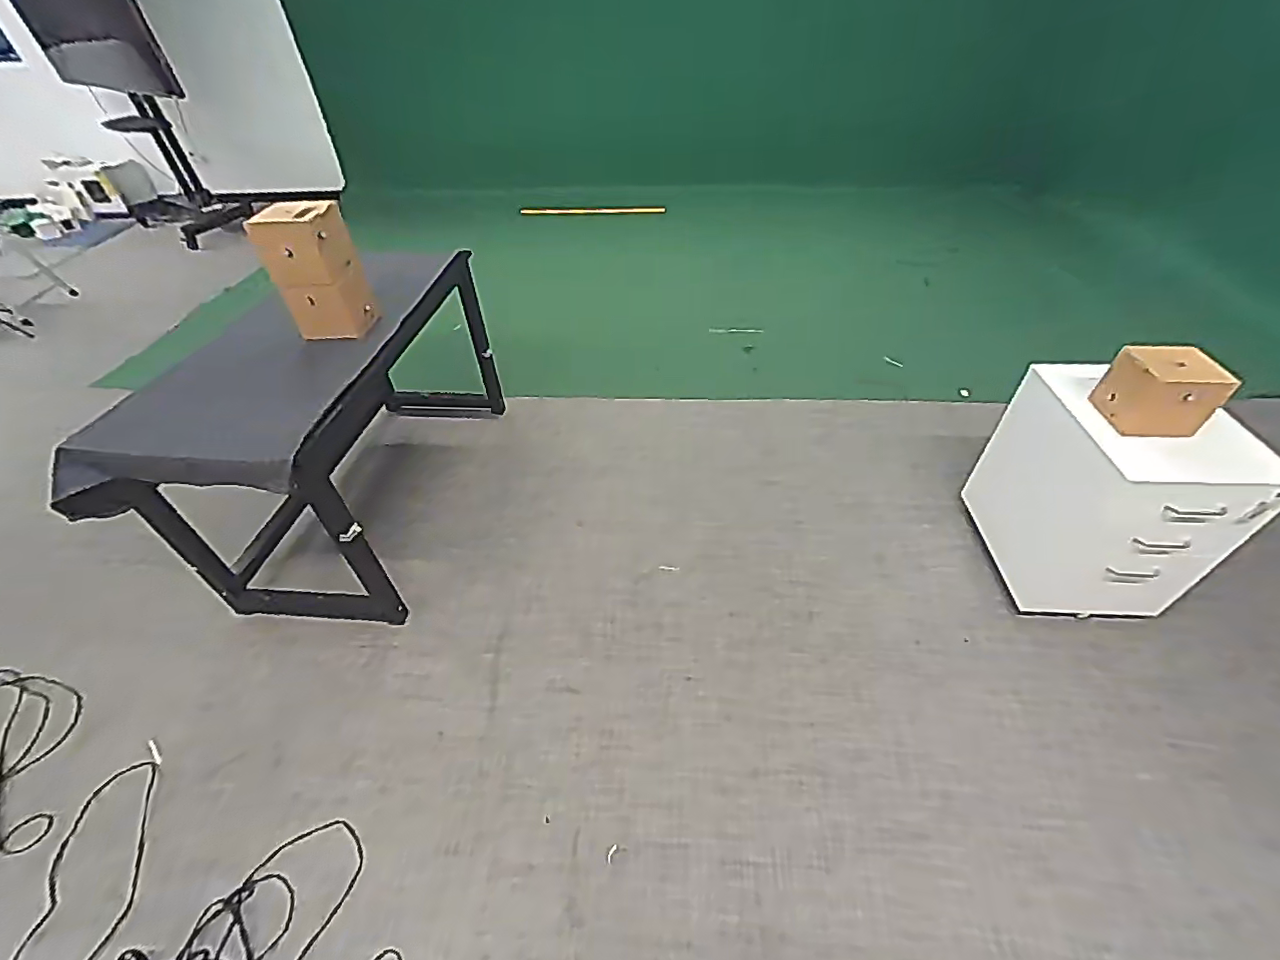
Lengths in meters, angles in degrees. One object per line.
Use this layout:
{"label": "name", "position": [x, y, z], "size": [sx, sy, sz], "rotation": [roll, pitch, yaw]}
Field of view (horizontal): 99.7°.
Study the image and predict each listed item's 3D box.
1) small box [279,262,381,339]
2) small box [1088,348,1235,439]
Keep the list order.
{"label": "small box", "position": [-0.911, -0.530, 1.606], "size": [0.179, 0.176, 0.168], "rotation": [-1, 43, 3]}
{"label": "small box", "position": [1.306, -0.217, 1.372], "size": [0.179, 0.176, 0.168], "rotation": [1, 43, 3]}
